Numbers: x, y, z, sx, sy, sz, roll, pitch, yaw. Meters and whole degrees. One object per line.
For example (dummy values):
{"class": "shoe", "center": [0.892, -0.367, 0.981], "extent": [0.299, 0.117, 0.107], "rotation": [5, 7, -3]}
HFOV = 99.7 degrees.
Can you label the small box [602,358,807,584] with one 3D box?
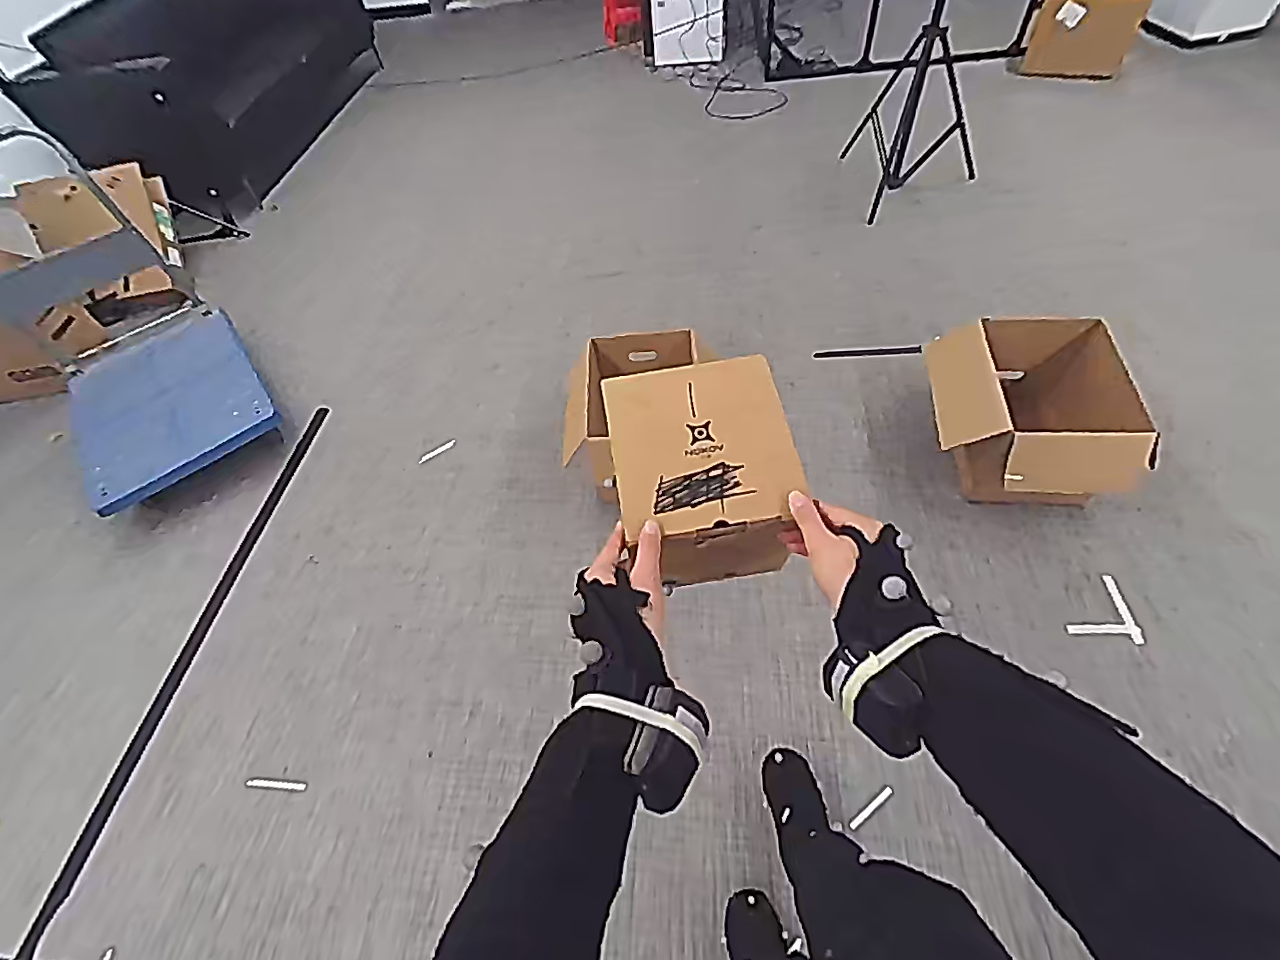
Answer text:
{"class": "small box", "center": [0.059, 0.002, 0.573], "extent": [0.168, 0.176, 0.179], "rotation": [-9, 63, -2]}
